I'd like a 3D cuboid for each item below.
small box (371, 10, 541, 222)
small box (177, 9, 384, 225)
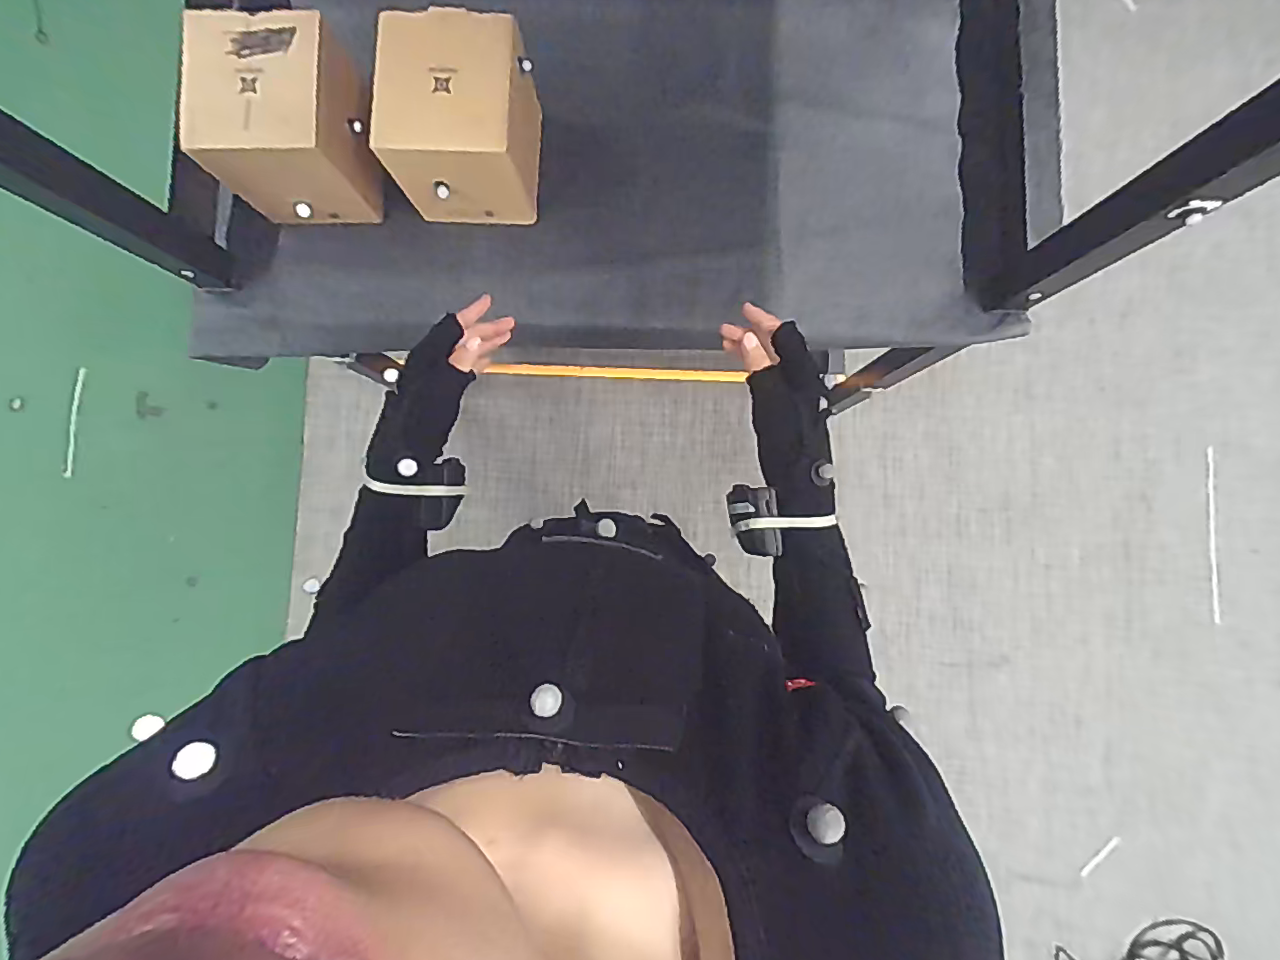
[{"bbox_3d":[-0.231,-0.468,0.719,0.168,0.176,0.179,2,85,1],"label":"small box"},{"bbox_3d":[-0.459,-0.469,0.719,0.168,0.176,0.179,0,86,1],"label":"small box"}]
